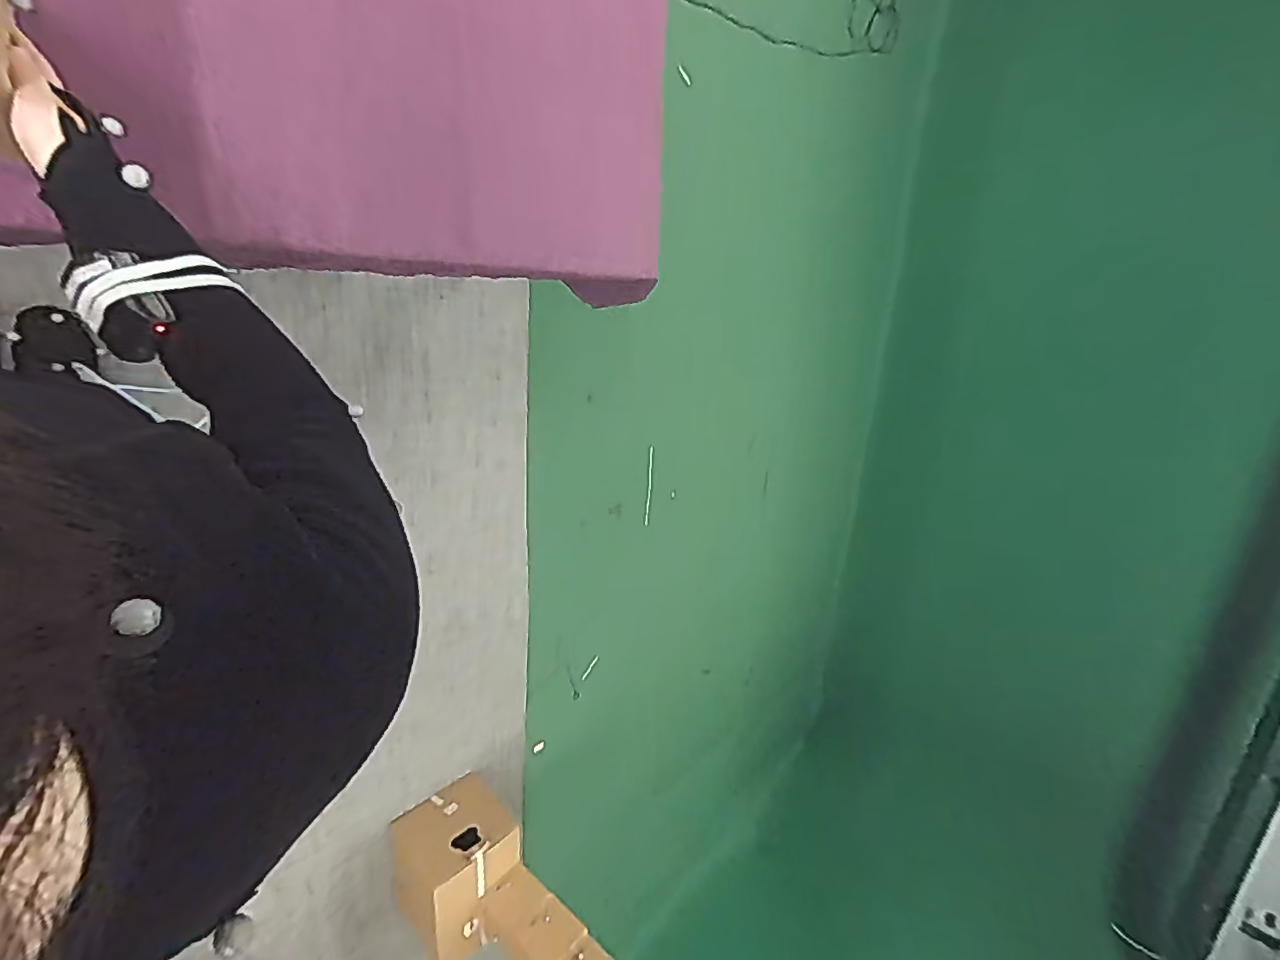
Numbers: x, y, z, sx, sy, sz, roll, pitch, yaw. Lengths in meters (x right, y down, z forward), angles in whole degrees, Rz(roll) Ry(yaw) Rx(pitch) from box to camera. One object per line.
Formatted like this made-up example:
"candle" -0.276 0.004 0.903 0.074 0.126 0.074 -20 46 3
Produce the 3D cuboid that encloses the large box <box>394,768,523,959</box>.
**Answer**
"large box" -0.629 1.325 1.891 0.320 0.320 0.408 -15 116 -45

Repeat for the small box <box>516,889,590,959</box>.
"small box" -0.276 1.460 1.707 0.168 0.176 0.179 -17 115 -48

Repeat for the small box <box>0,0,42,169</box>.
"small box" -0.513 -0.337 0.336 0.168 0.176 0.179 -9 95 -42

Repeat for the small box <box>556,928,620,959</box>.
"small box" -0.156 1.504 1.606 0.168 0.176 0.179 -15 113 -49
